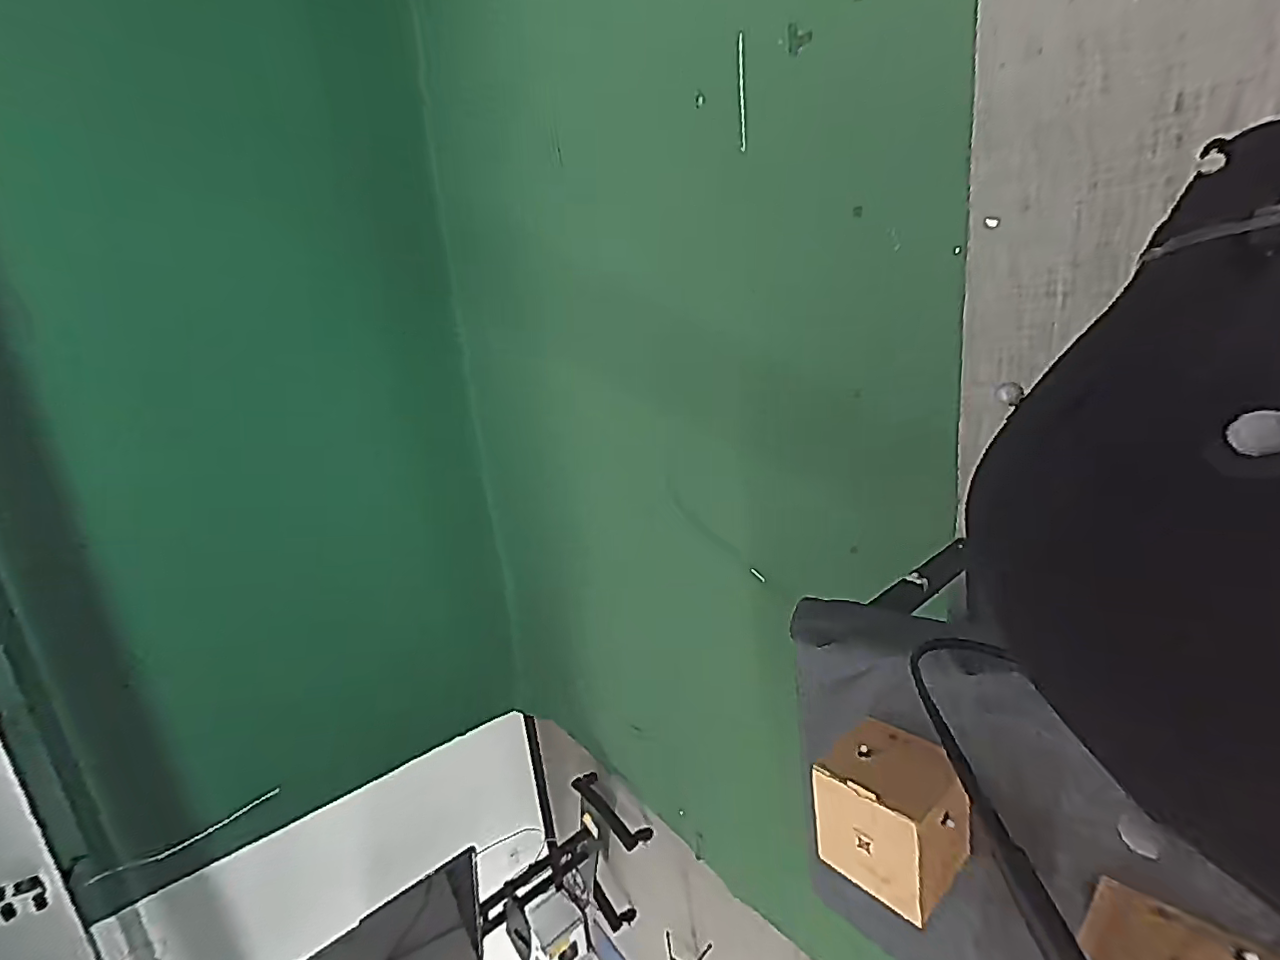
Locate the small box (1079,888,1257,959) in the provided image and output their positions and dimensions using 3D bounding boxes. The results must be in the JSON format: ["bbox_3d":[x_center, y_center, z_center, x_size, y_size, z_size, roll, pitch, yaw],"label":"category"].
[{"bbox_3d":[0.608,0.624,0.608,0.168,0.176,0.179,3,106,52],"label":"small box"}]

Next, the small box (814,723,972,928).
[{"bbox_3d":[0.398,0.520,0.846,0.168,0.176,0.179,6,109,52],"label":"small box"}]
